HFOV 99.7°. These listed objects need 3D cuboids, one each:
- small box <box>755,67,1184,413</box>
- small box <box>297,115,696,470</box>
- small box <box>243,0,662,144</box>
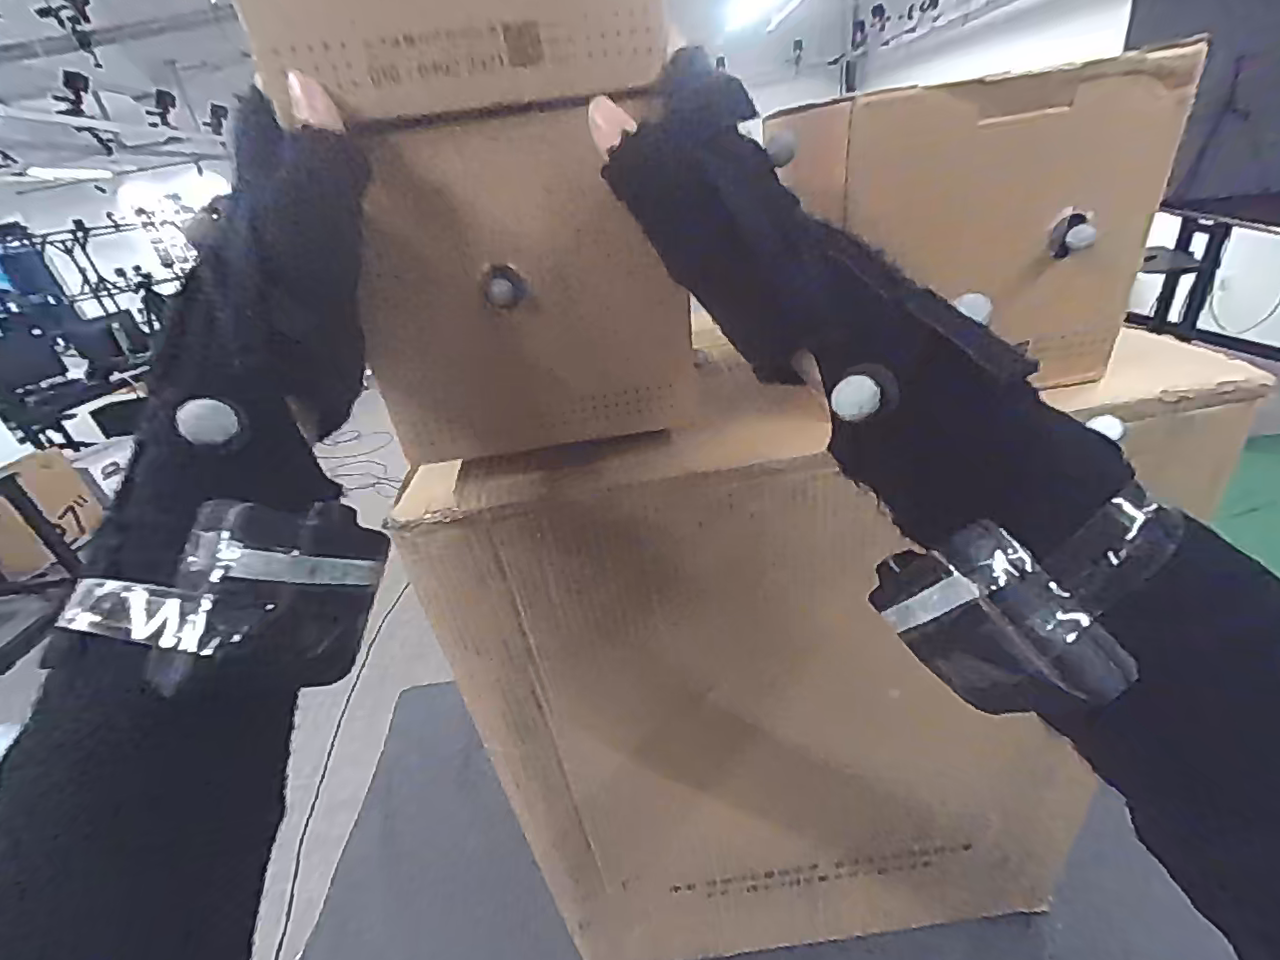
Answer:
[{"bbox_3d":[0.180,-0.150,0.364,0.168,0.176,0.179,-7,30,0],"label":"small box"},{"bbox_3d":[-0.068,-0.125,0.345,0.179,0.176,0.168,-9,33,-6],"label":"small box"},{"bbox_3d":[-0.088,-0.262,0.258,0.168,0.176,0.179,-10,33,-5],"label":"small box"}]
